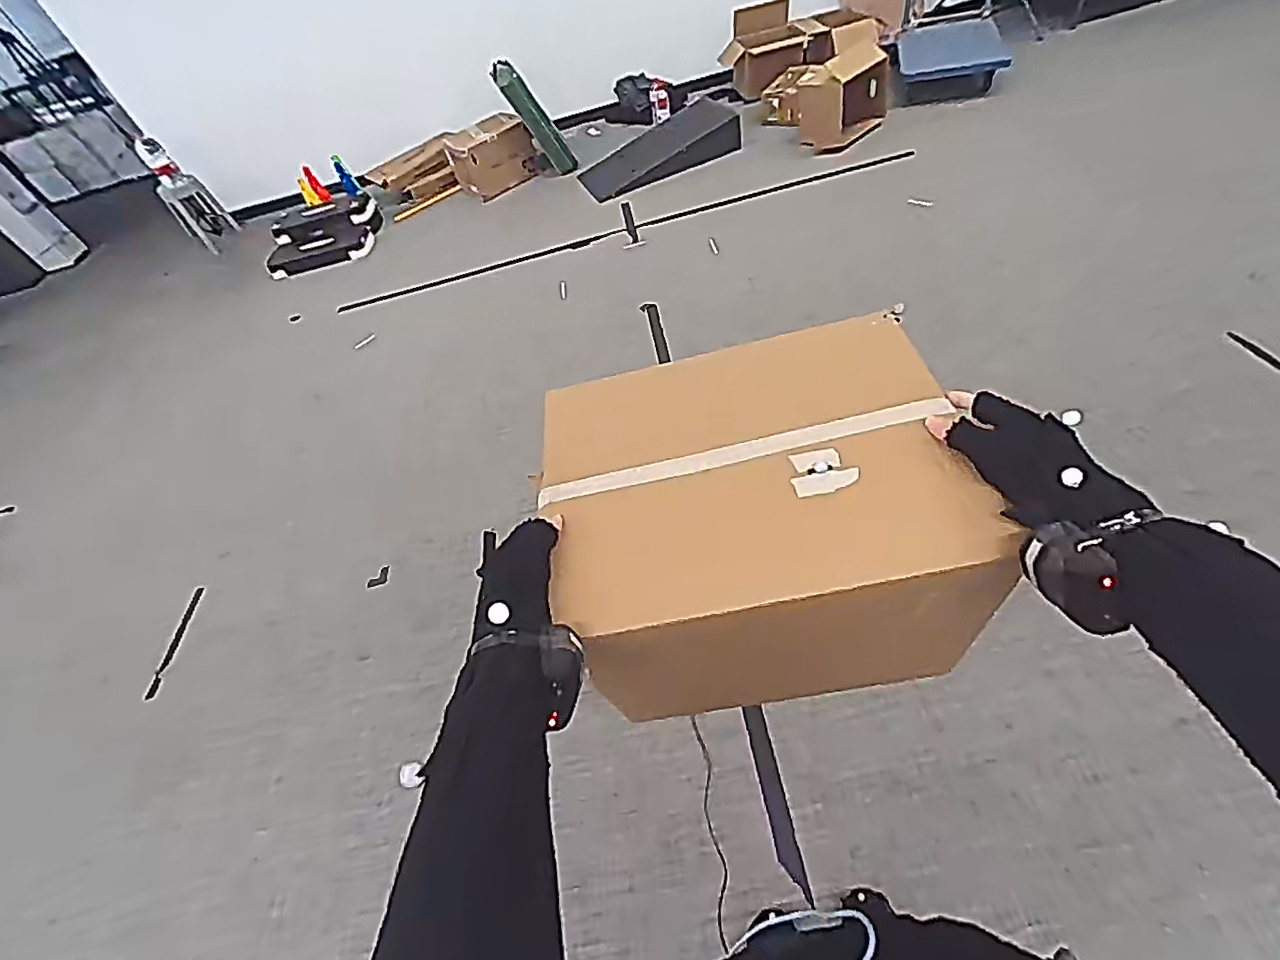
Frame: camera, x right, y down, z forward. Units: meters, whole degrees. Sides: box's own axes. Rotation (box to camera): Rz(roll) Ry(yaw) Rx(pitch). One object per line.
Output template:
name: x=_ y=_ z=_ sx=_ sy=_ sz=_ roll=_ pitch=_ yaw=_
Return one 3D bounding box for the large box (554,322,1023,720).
large box: x=0.135 y=0.067 z=0.663 sx=0.408 sy=0.320 sz=0.320 roll=-12 pitch=53 yaw=6
